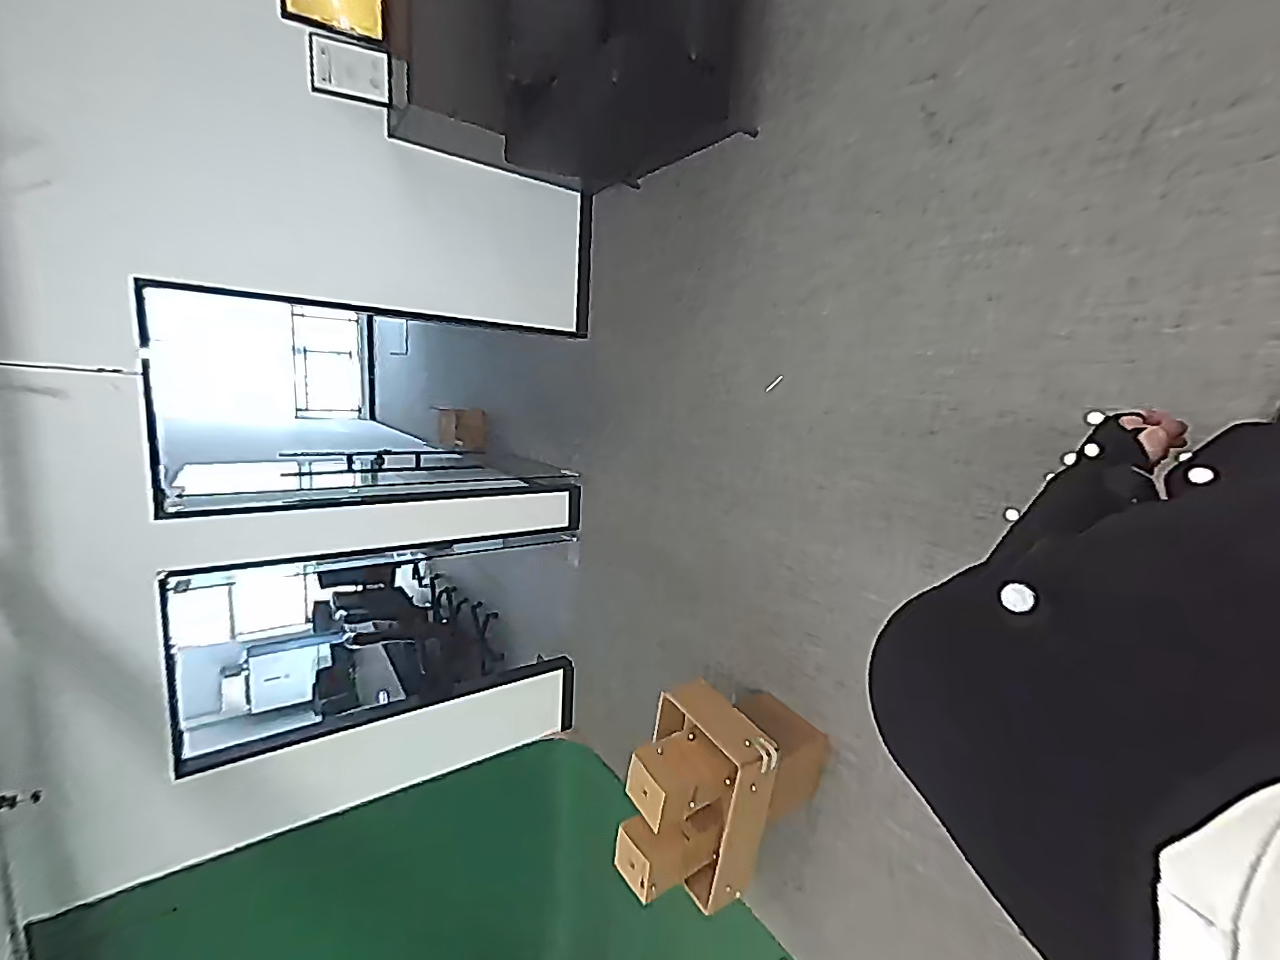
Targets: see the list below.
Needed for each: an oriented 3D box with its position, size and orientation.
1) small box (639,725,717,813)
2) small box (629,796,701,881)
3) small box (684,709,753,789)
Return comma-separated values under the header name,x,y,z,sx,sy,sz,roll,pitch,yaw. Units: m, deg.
name,x,y,z,sx,sy,sz,roll,pitch,yaw
small box,0.123,0.932,1.769,0.179,0.176,0.168,33,120,49
small box,0.084,1.208,1.853,0.179,0.176,0.168,24,114,52
small box,0.257,0.916,1.860,0.179,0.176,0.168,34,121,48
